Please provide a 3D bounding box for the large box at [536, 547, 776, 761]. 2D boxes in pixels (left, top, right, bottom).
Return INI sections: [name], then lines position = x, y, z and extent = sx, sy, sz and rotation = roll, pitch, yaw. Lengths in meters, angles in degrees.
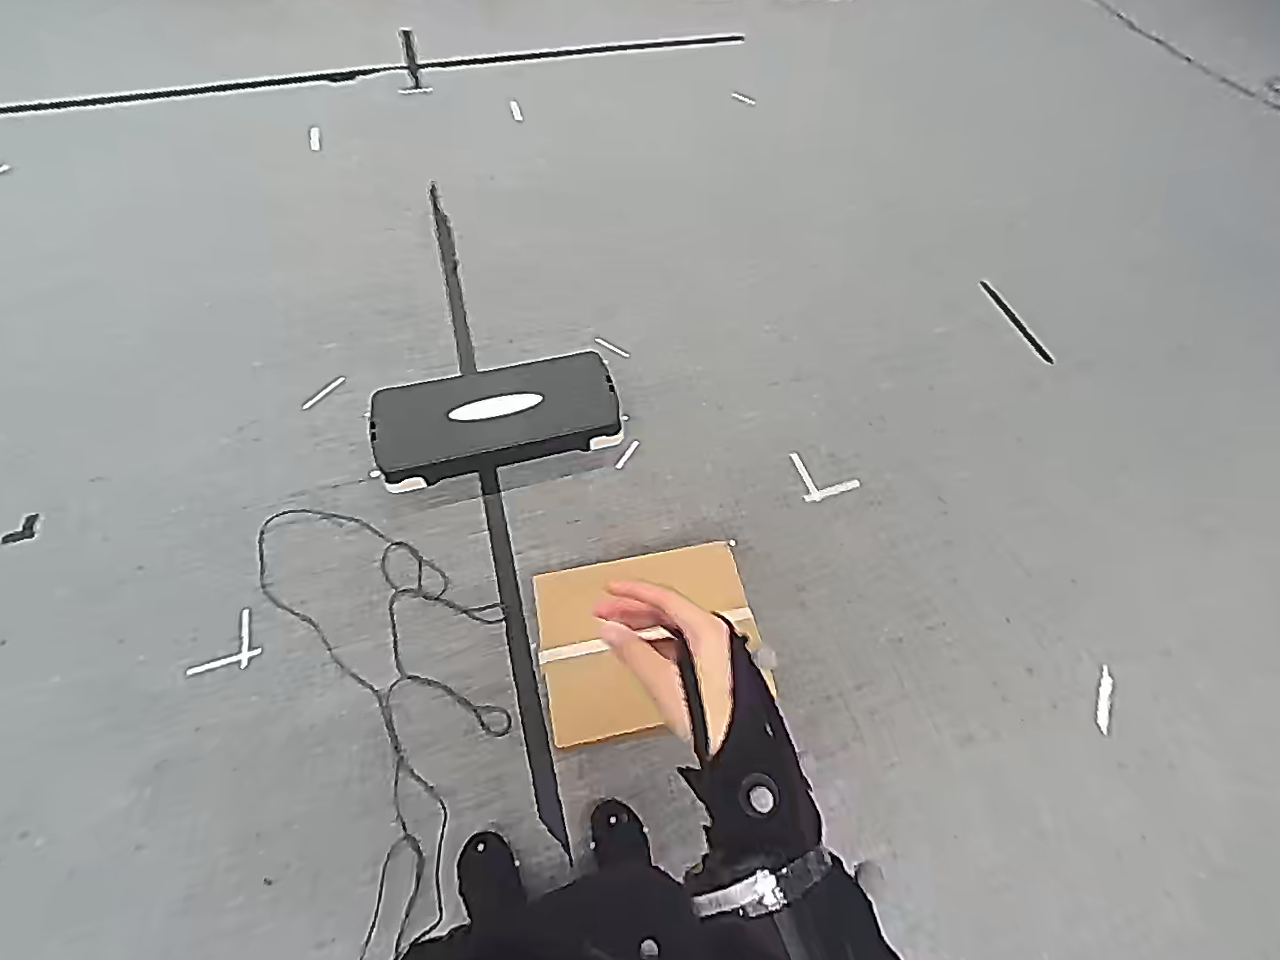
[large box]
position = 0.012, 0.373, 1.141
extent = 0.408, 0.320, 0.320
rotation = -9, 63, -9
